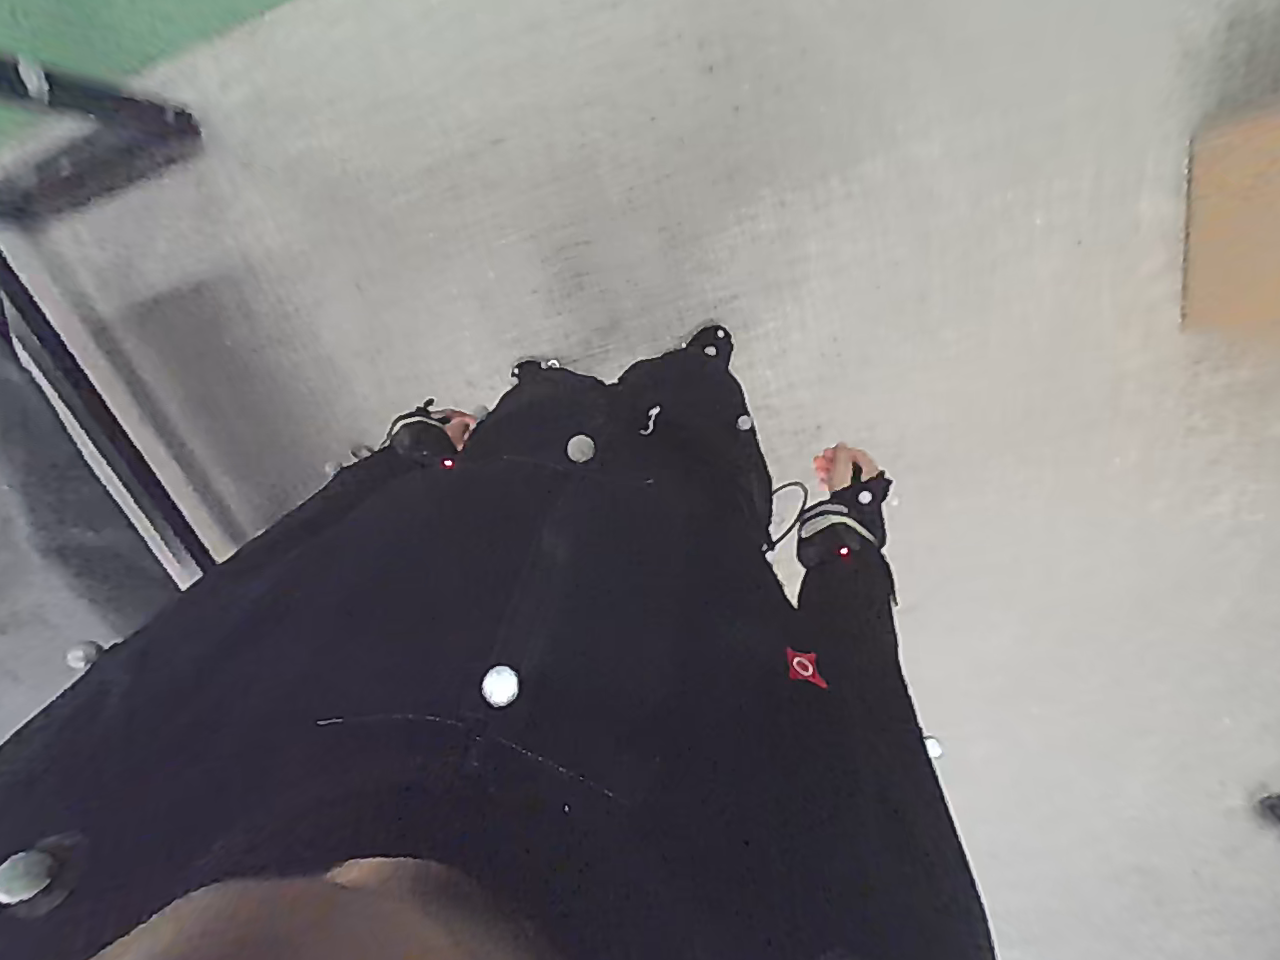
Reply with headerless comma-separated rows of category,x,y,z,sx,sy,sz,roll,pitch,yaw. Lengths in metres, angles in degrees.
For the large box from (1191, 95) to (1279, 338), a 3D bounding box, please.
large box,1.264,-0.495,0.945,0.320,0.320,0.408,-16,112,12
